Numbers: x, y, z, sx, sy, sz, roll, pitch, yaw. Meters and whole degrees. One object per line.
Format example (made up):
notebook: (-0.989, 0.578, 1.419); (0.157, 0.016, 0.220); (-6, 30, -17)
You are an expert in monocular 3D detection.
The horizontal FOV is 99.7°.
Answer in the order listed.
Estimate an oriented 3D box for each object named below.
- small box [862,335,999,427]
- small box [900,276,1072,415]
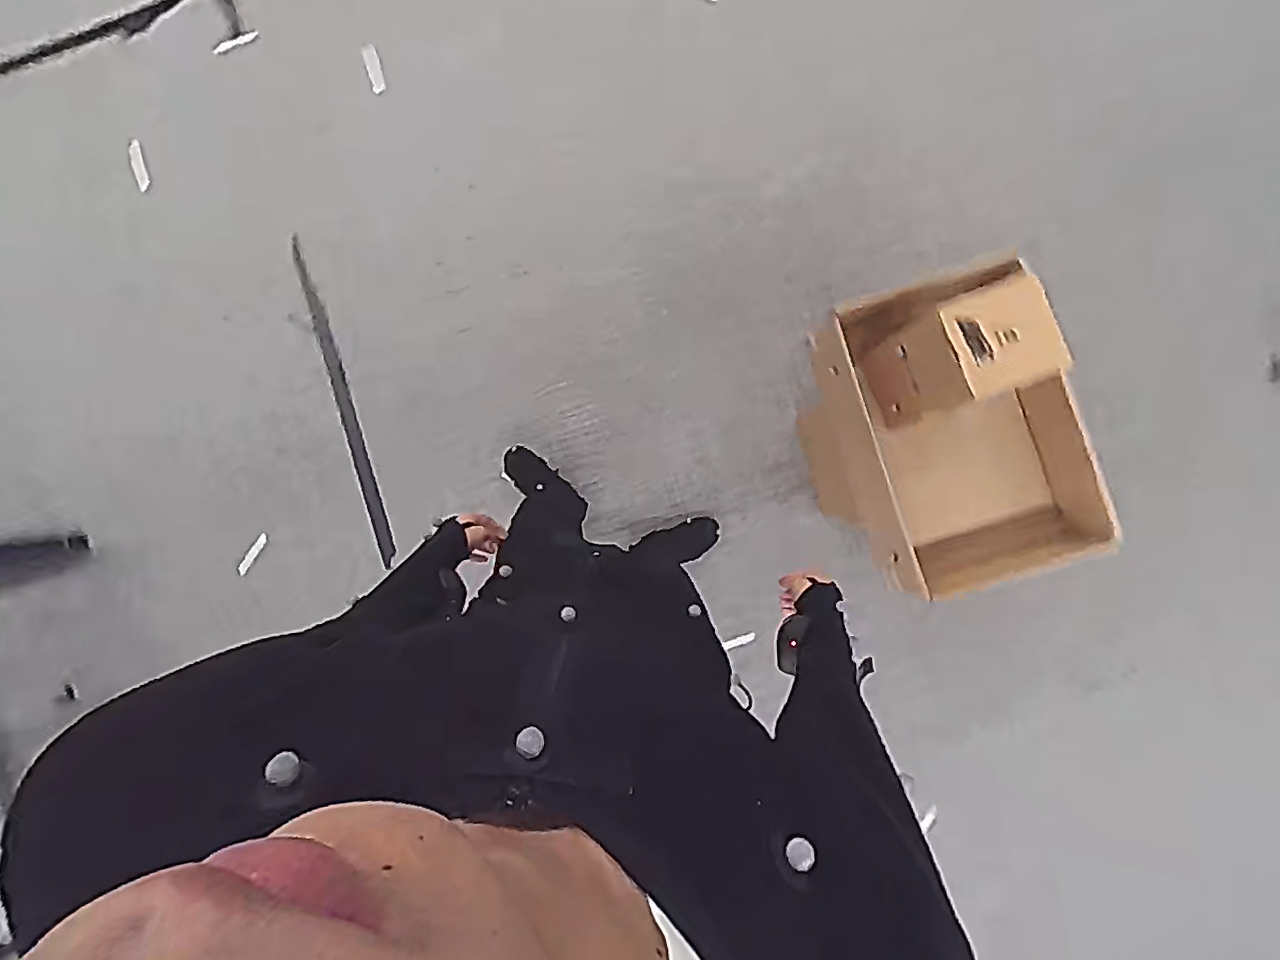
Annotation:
small box: (0.590, -0.217, 1.116); (0.168, 0.176, 0.179); (-21, 88, 1)
small box: (0.589, -0.224, 0.952); (0.179, 0.176, 0.168); (-20, 89, 0)
